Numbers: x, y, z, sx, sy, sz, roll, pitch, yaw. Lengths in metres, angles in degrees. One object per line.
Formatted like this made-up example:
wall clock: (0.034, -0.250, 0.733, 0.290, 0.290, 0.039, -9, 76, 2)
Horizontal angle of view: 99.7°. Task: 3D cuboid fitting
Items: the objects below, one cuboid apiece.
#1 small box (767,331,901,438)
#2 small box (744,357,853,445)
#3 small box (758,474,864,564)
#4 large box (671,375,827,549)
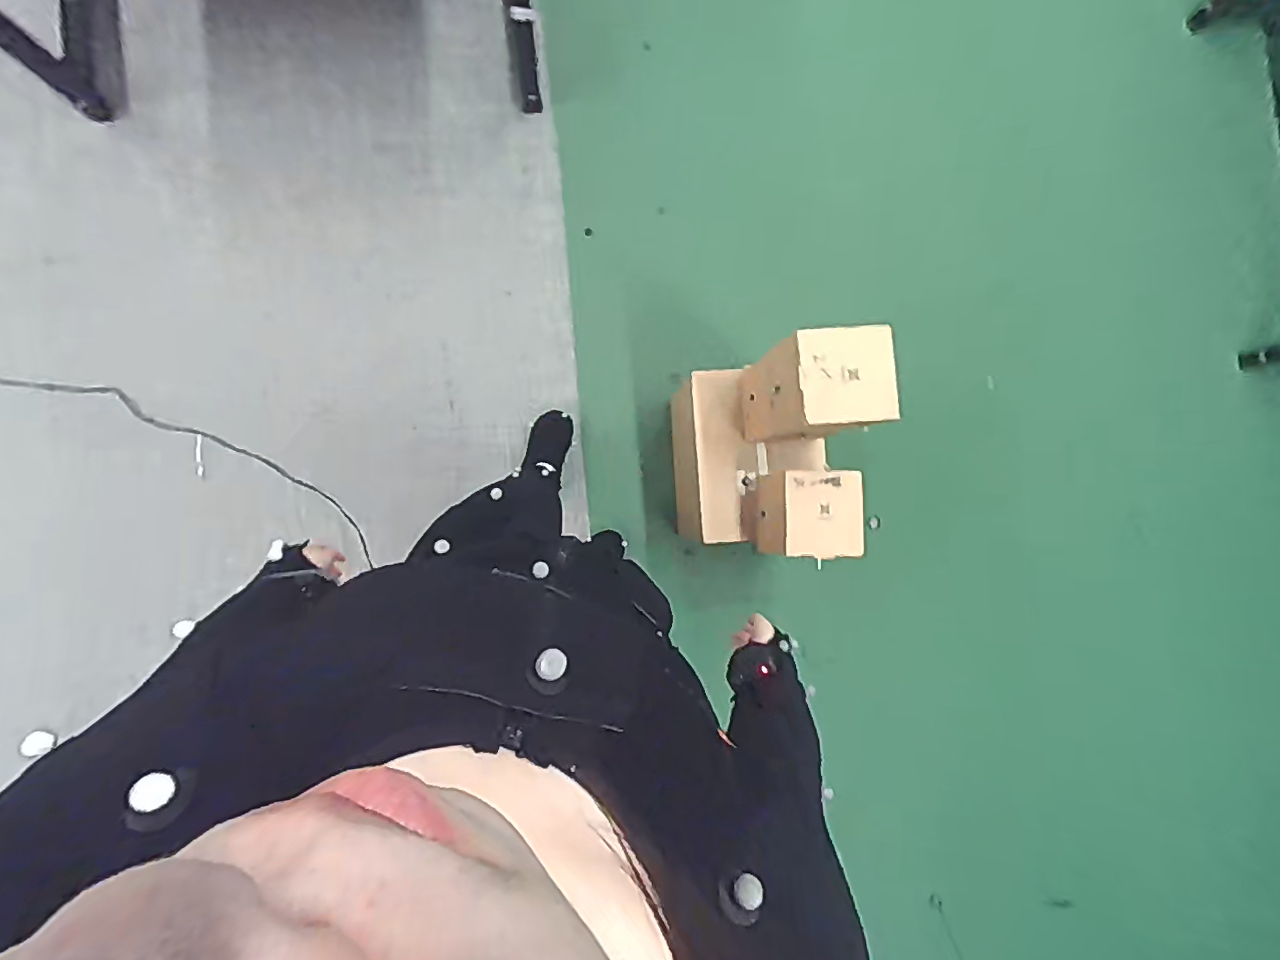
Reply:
small box: (0.352, -0.171, 1.004, 0.179, 0.176, 0.168, -4, 88, -7)
small box: (0.337, -0.166, 1.168, 0.179, 0.176, 0.168, -3, 88, -7)
small box: (0.358, 0.082, 1.155, 0.168, 0.176, 0.179, 2, 86, -7)
large box: (0.267, -0.045, 1.399, 0.320, 0.320, 0.408, -3, 88, -6)
